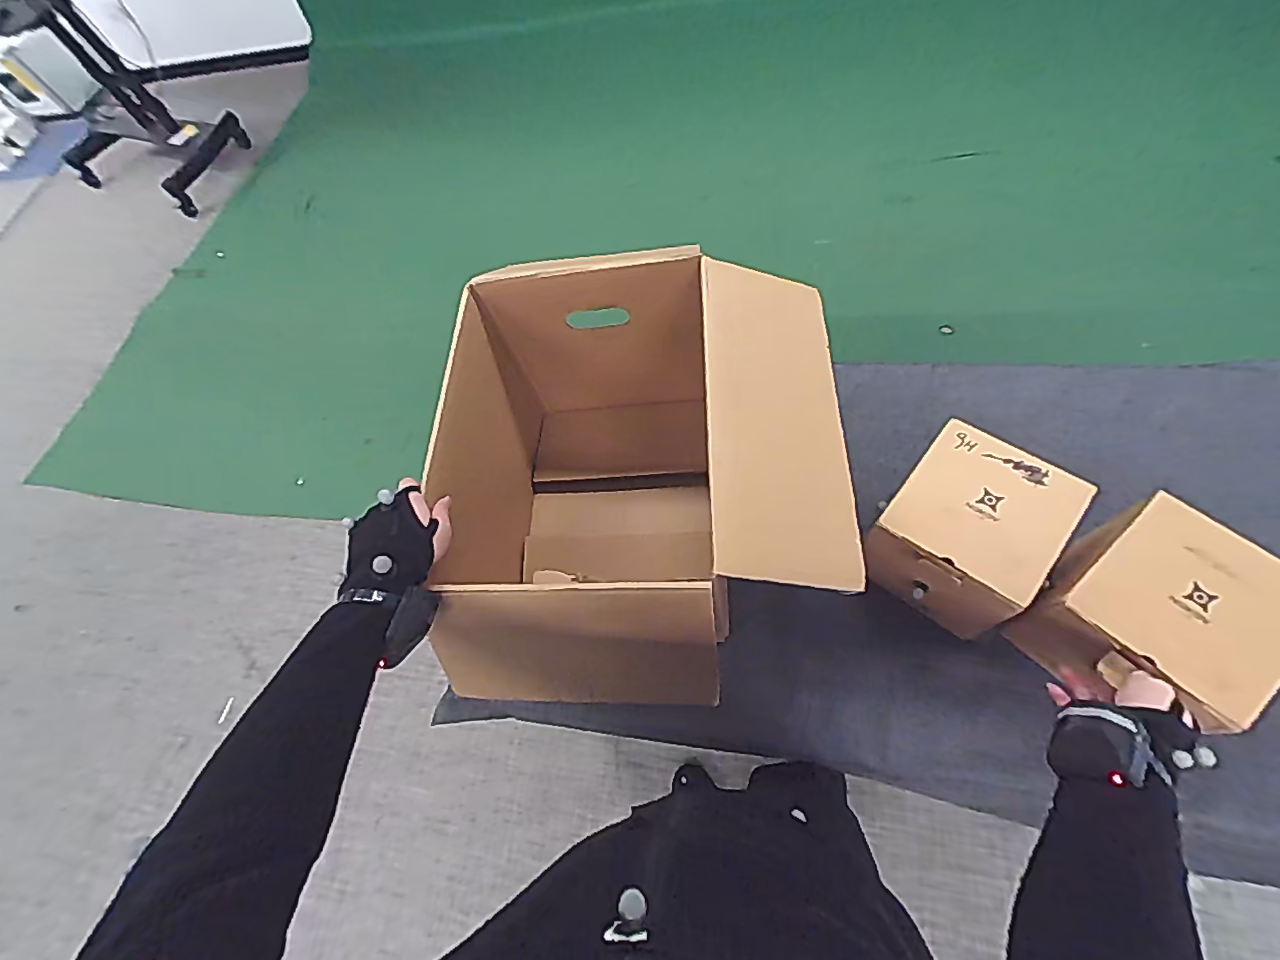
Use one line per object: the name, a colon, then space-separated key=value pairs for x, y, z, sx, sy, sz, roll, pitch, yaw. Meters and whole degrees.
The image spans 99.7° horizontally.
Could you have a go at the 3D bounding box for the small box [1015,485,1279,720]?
small box: x=0.562 y=0.145 z=0.601 sx=0.179 sy=0.176 sz=0.168 roll=-43 pitch=64 yaw=-9
